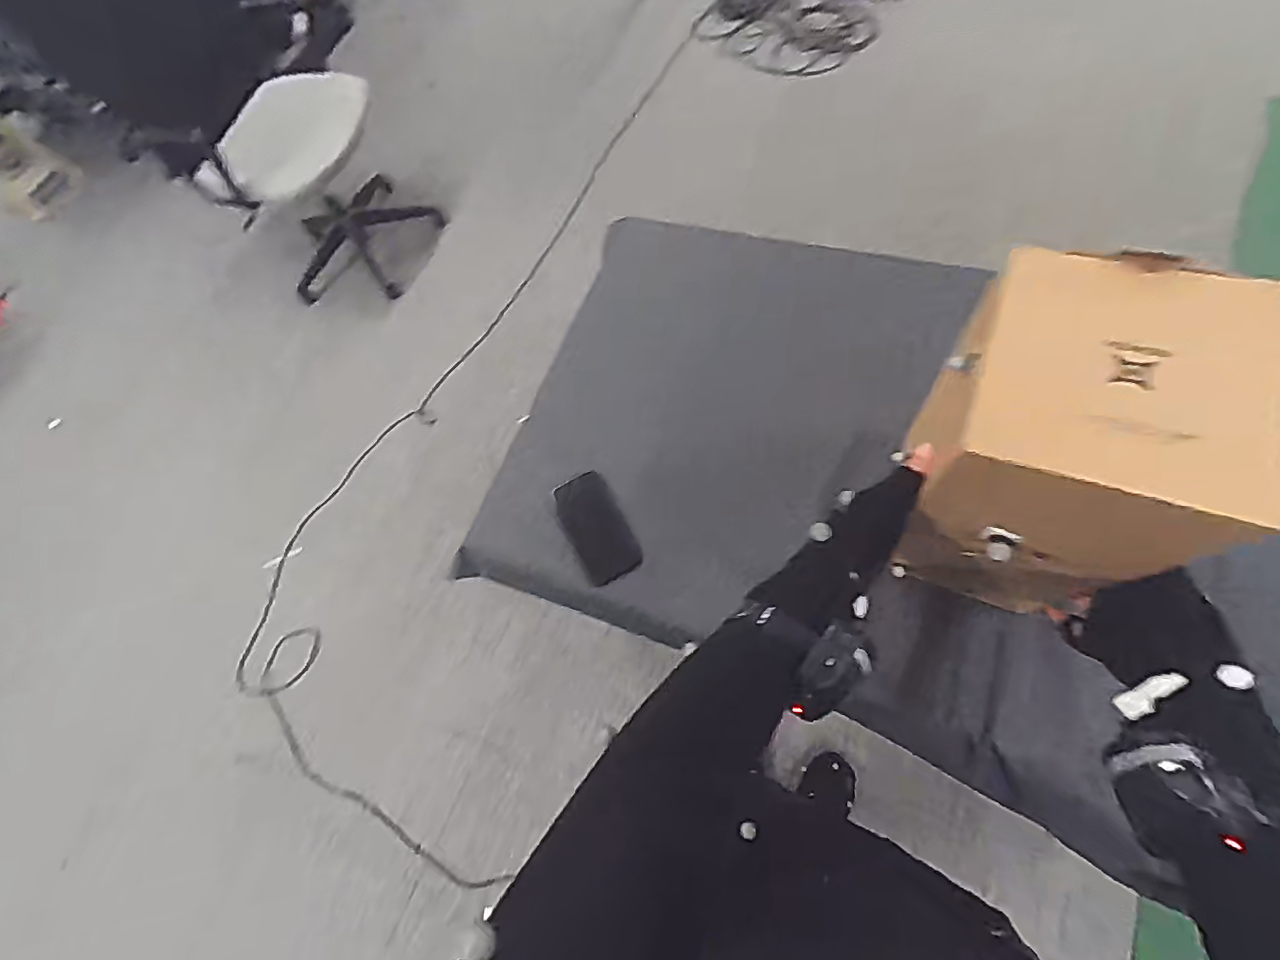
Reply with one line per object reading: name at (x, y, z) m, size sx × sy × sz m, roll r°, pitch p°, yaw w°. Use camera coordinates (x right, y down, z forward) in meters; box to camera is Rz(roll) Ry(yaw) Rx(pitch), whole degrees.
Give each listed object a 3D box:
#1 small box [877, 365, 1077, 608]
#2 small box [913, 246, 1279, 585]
small box at (0.363, 0.016, 0.563) m, size 0.168 × 0.176 × 0.179 m, roll 20°, pitch 73°, yaw 19°
small box at (0.331, -0.040, 0.414) m, size 0.168 × 0.176 × 0.179 m, roll 19°, pitch 74°, yaw 20°
